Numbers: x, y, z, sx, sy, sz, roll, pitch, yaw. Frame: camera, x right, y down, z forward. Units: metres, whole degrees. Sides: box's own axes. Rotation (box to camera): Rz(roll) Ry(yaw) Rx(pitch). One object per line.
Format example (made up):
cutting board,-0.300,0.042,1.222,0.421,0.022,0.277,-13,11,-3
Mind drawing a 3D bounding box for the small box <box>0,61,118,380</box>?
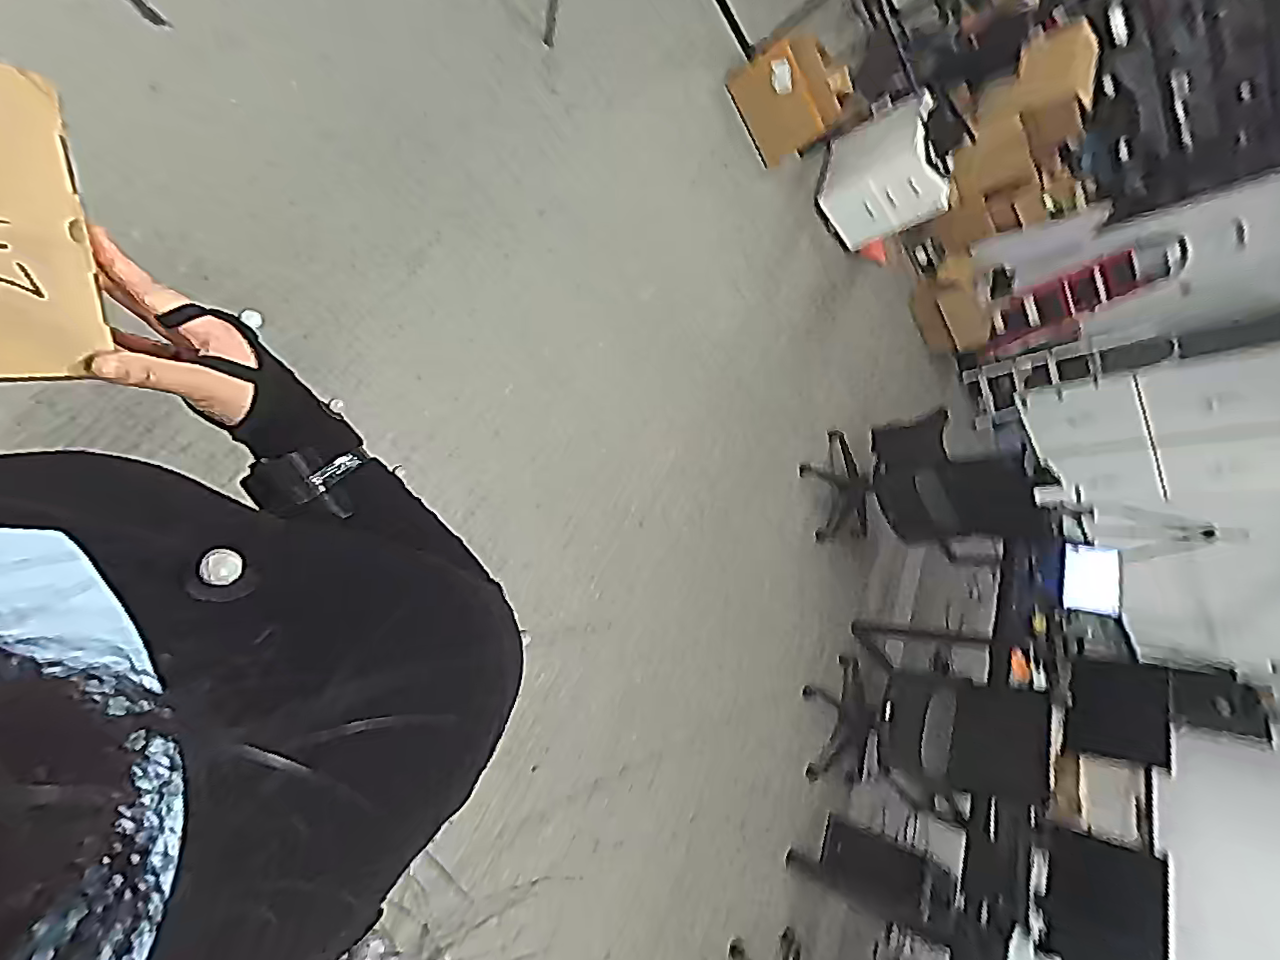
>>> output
small box,-0.440,-0.141,0.313,0.179,0.176,0.168,-15,109,-43
